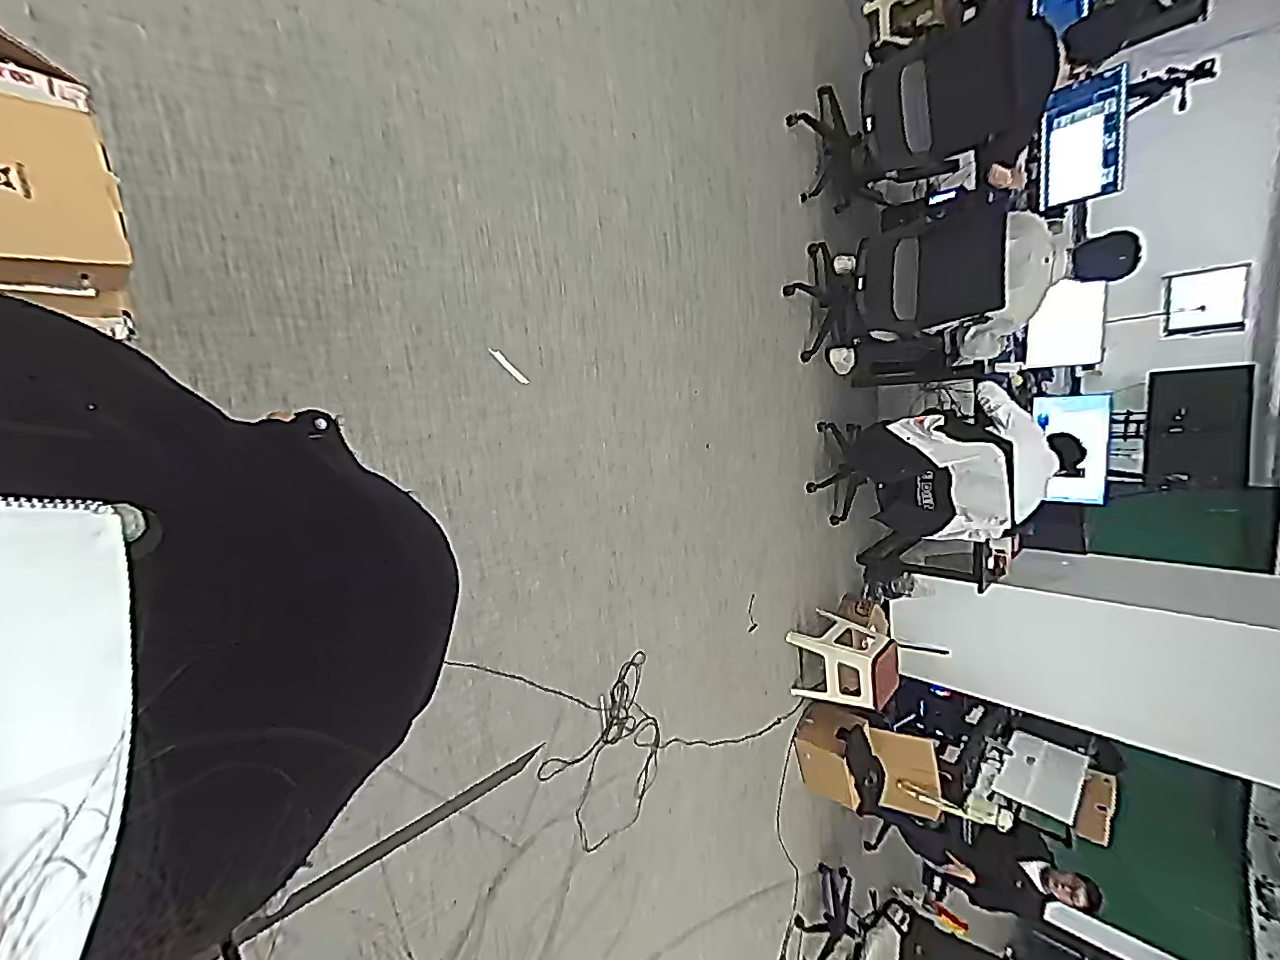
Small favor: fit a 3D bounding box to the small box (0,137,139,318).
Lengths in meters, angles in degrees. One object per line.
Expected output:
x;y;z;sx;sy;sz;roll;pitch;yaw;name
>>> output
-0.736;-0.288;0.637;0.179;0.176;0.168;-17;106;-44;small box
